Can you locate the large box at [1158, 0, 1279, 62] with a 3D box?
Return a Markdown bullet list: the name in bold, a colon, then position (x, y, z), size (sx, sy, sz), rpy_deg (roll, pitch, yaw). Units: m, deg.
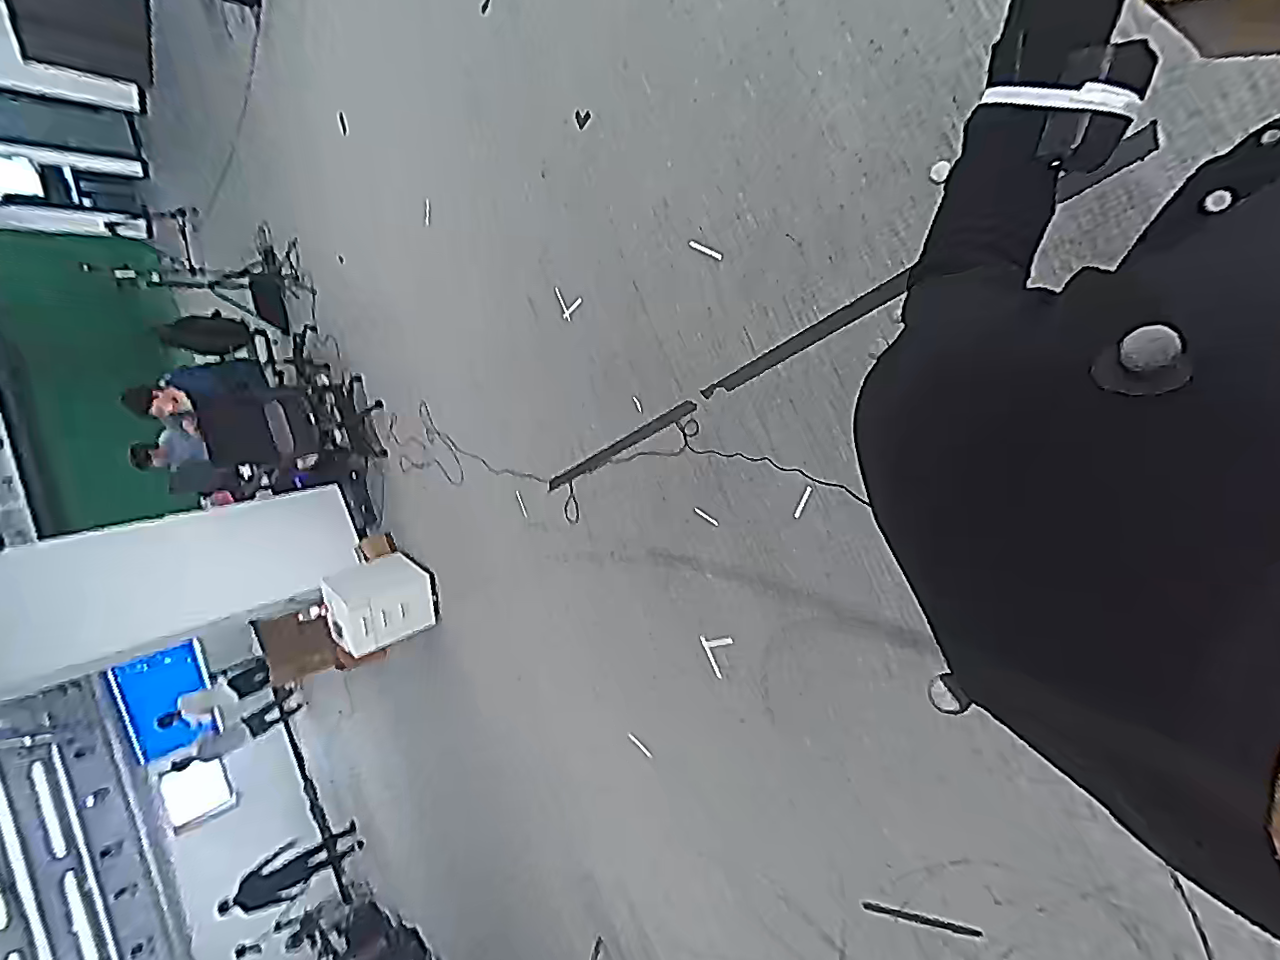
- **large box**: position (0.539, -0.388, 0.206), size (0.408, 0.320, 0.320), rpy_deg (29, 132, 37)
